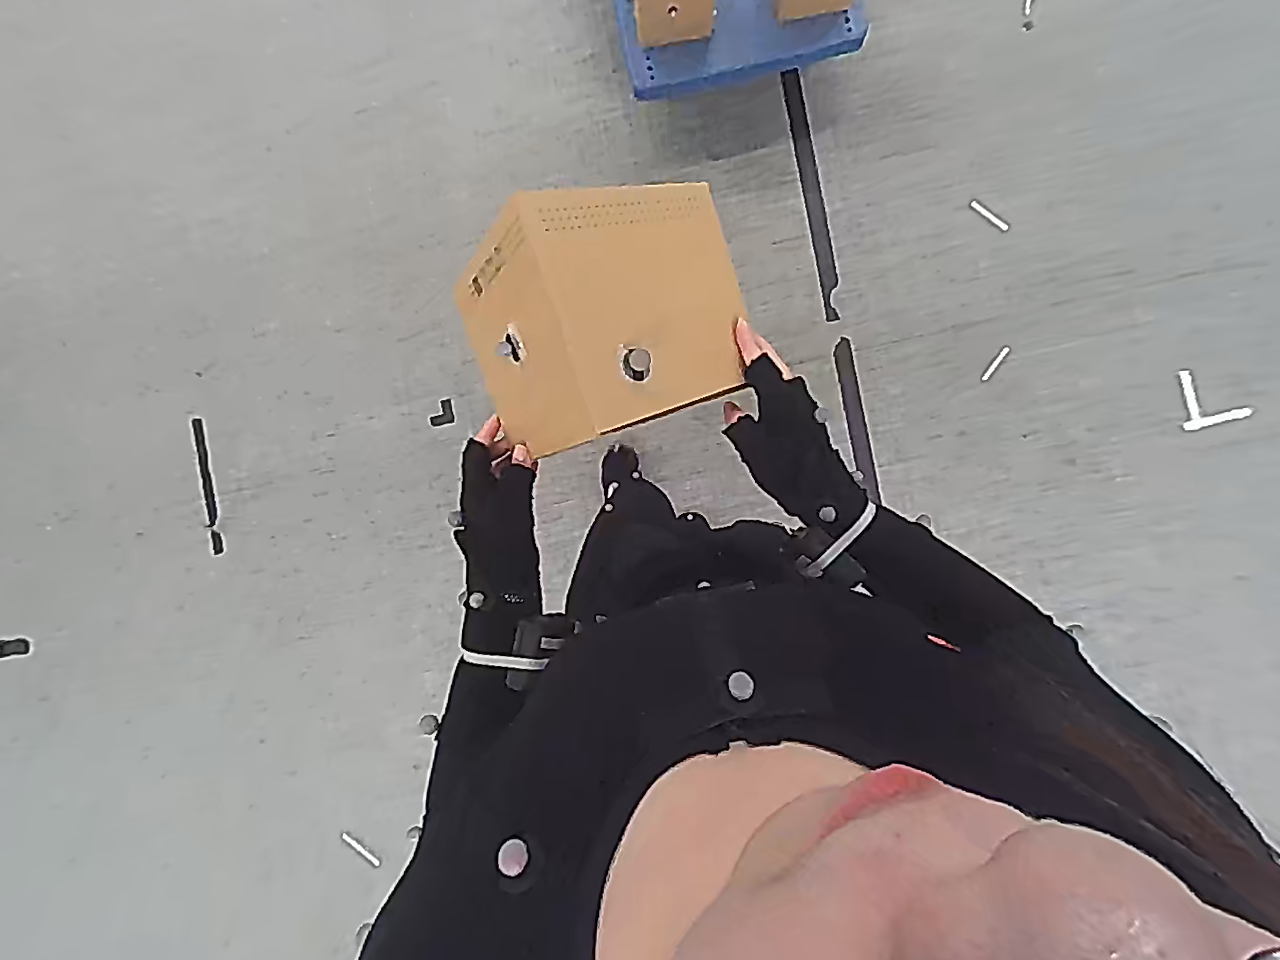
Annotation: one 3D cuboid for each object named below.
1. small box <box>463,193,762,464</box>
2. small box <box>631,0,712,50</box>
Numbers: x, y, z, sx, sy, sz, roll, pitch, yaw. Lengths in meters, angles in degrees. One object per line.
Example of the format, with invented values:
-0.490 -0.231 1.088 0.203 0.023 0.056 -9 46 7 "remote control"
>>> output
-0.031 -0.127 0.470 0.179 0.168 0.176 -23 98 -32 "small box"
0.067 -1.125 1.223 0.179 0.176 0.168 -7 89 4 "small box"
